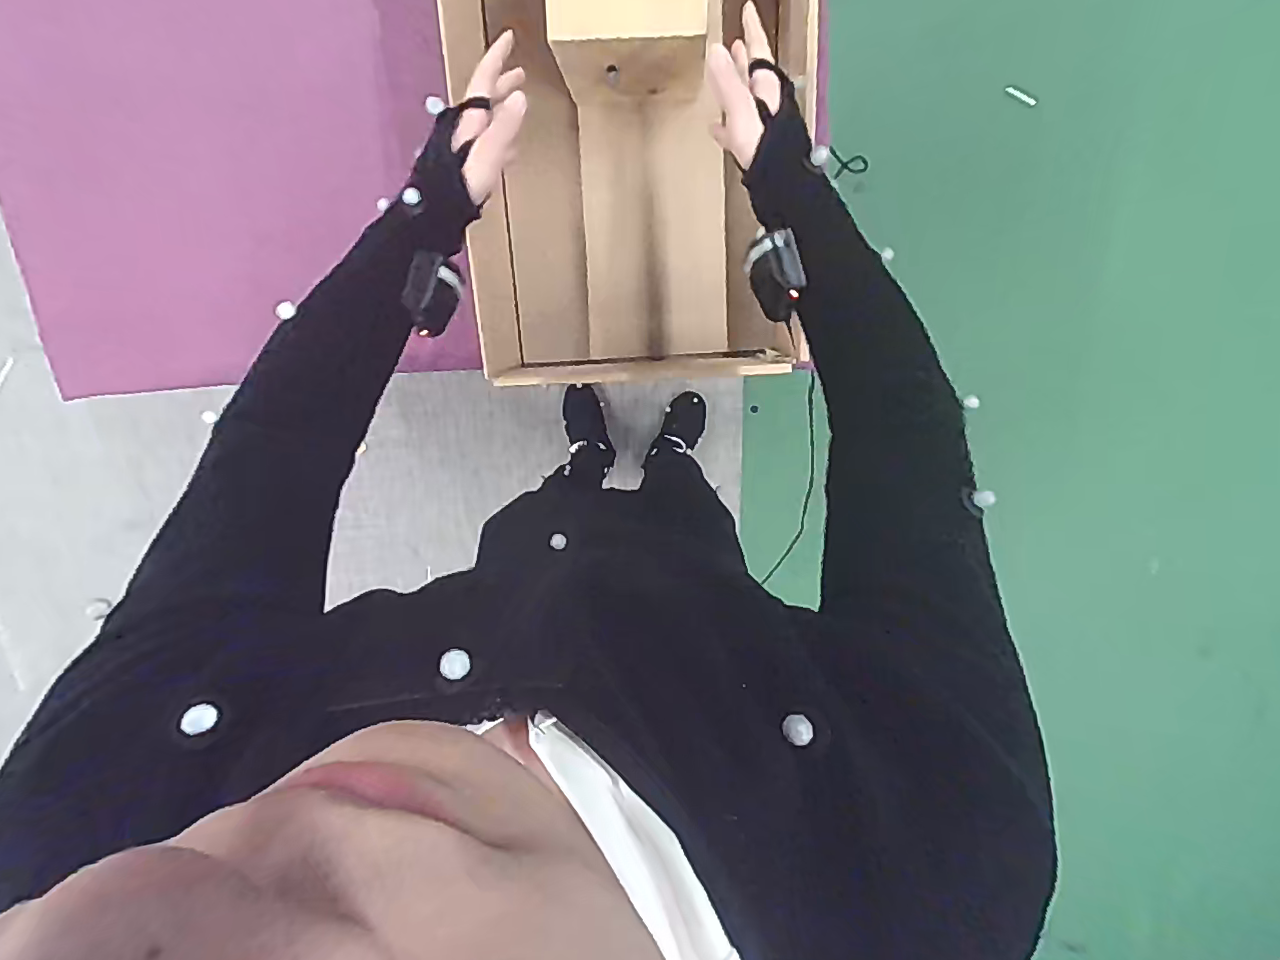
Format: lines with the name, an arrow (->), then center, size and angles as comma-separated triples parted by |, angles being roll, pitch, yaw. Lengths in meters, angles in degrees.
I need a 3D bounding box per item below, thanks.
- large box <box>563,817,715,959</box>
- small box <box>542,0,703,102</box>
large box -> -0.003, 1.481, 1.872 | 0.408, 0.320, 0.320 | -35, 102, 9
small box -> -0.012, -0.549, 0.605 | 0.168, 0.176, 0.179 | 0, 105, 4
